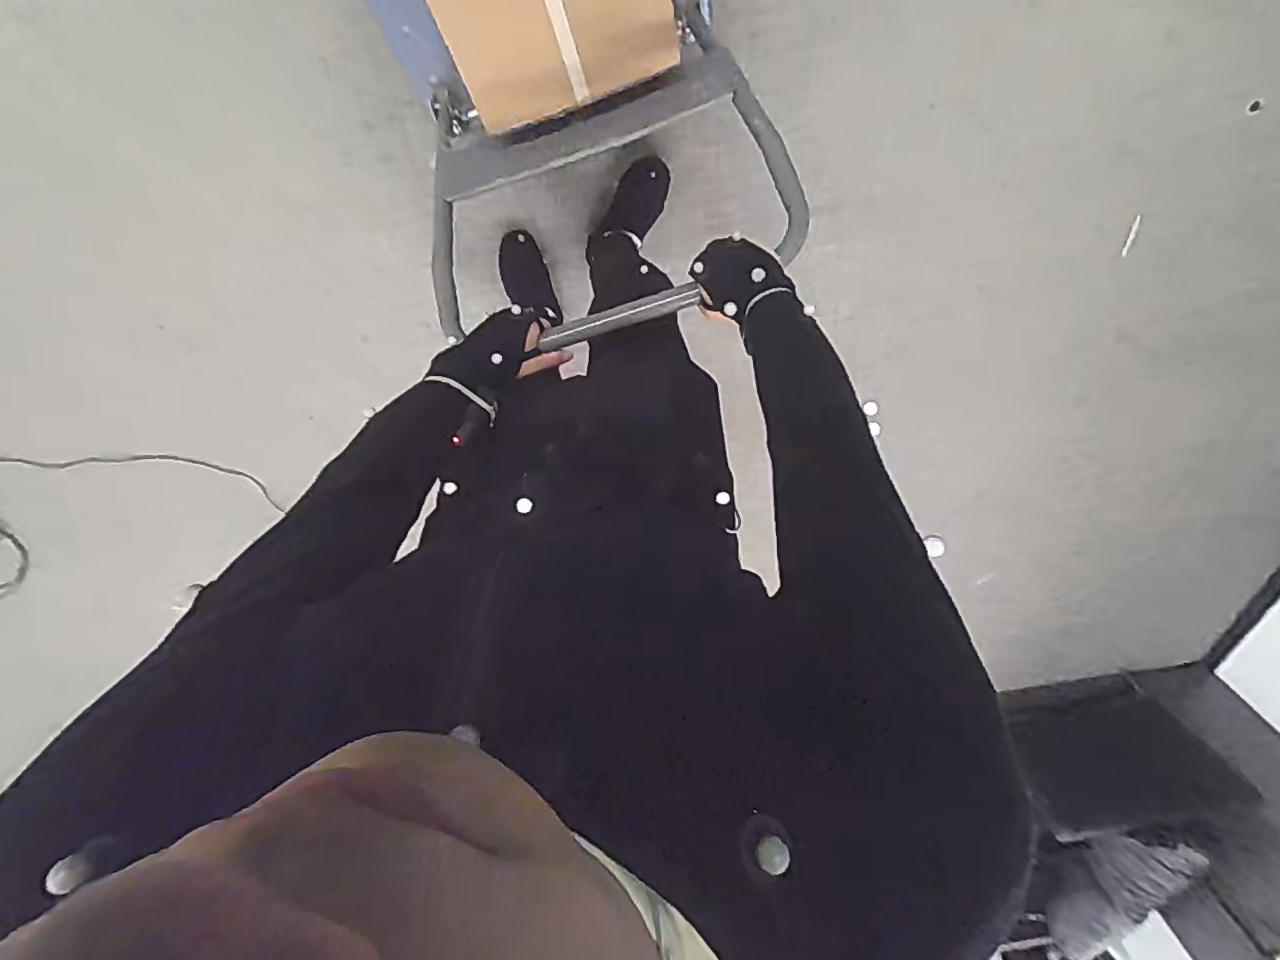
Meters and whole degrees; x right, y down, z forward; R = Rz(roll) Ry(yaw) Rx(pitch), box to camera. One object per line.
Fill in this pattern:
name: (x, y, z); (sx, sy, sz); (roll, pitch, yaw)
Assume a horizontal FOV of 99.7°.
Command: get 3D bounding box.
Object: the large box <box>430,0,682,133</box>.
large box: (-0.155, -0.801, 0.749); (0.320, 0.320, 0.408); (-16, 144, 7)
